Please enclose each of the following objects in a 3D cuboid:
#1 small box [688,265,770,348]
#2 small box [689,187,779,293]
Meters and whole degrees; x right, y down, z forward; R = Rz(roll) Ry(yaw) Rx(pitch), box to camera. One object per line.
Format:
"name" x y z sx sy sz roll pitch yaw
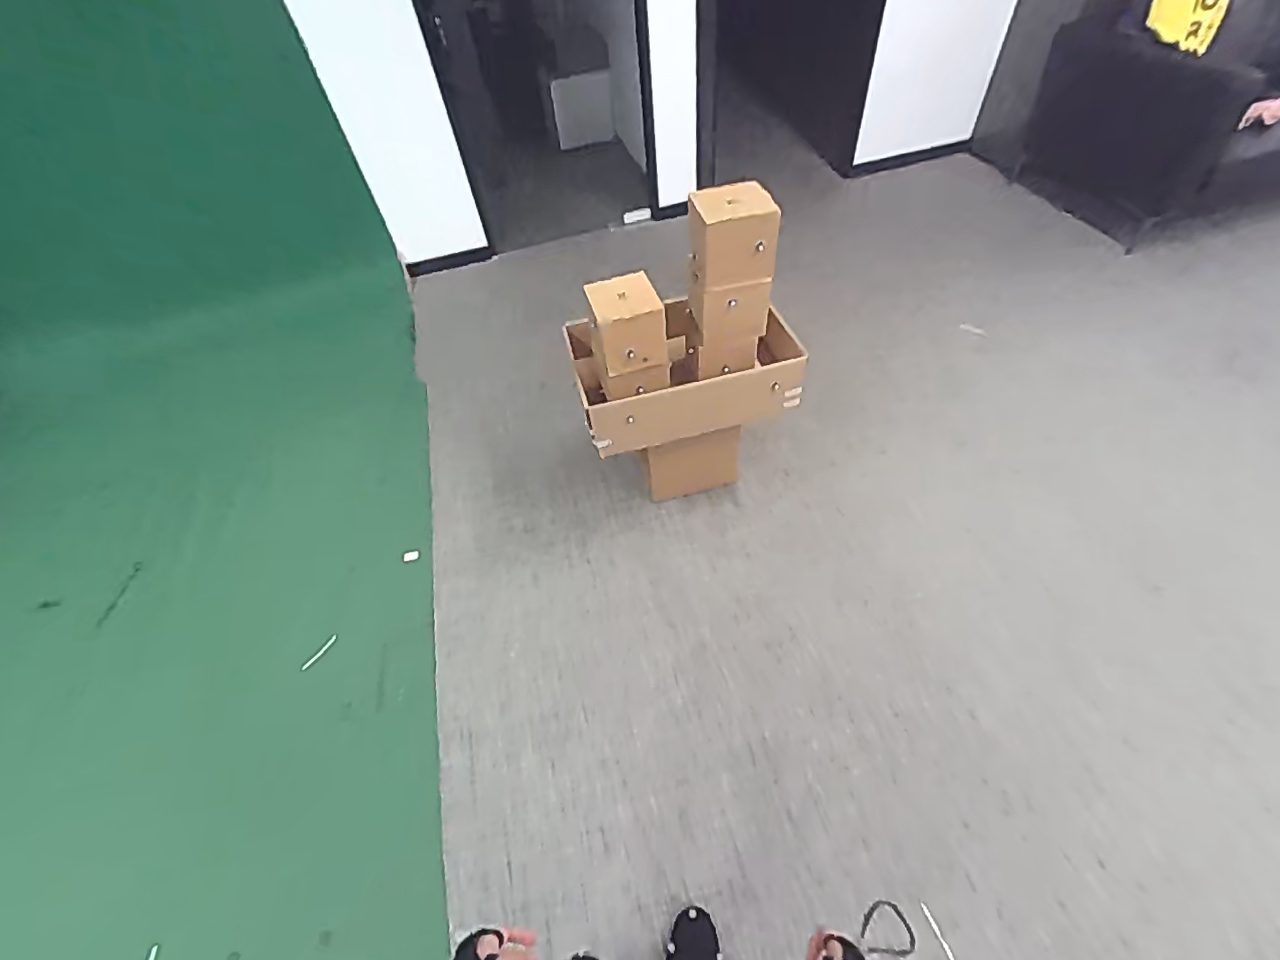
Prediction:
"small box" 0.232 -0.473 1.441 0.179 0.176 0.168 -11 51 -3
"small box" 0.221 -0.584 1.321 0.179 0.176 0.168 -12 50 -3
